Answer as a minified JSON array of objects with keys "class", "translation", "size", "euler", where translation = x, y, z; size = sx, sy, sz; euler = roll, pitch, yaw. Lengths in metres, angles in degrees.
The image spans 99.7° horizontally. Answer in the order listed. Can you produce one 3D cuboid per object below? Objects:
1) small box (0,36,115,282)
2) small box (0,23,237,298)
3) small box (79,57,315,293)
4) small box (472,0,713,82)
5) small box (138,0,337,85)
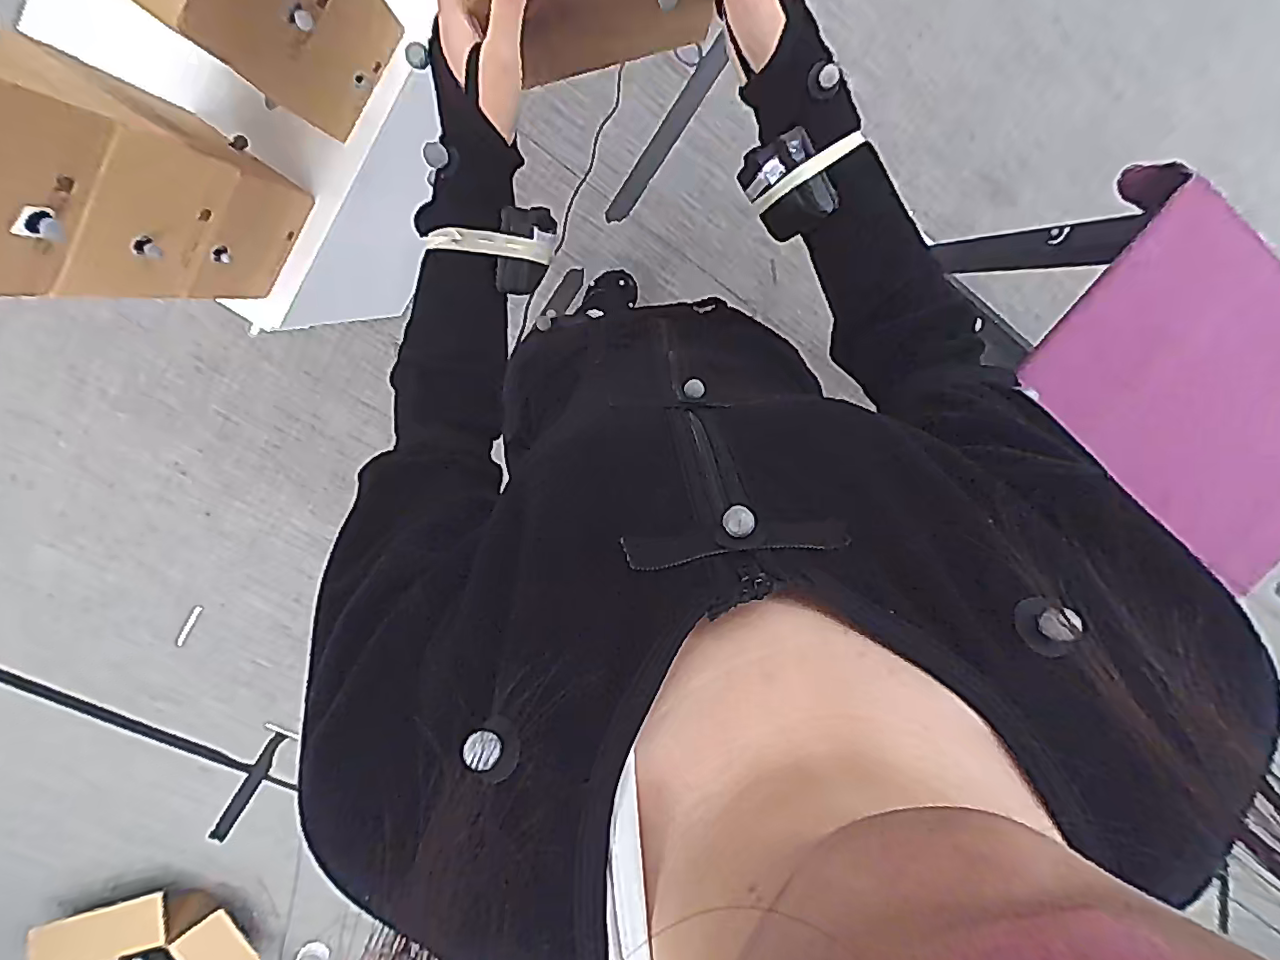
[{"class":"small box","translation":[-0.521,-0.243,0.350],"size":[0.179,0.176,0.168],"euler":[32,104,-14]},{"class":"small box","translation":[-0.533,-0.293,0.504],"size":[0.179,0.176,0.168],"euler":[32,103,-14]},{"class":"small box","translation":[-0.548,-0.344,0.657],"size":[0.179,0.176,0.168],"euler":[34,104,-13]},{"class":"small box","translation":[-0.039,-0.412,0.369],"size":[0.179,0.176,0.168],"euler":[-12,109,4]},{"class":"small box","translation":[-0.383,-0.483,0.451],"size":[0.179,0.176,0.168],"euler":[35,103,-16]}]
